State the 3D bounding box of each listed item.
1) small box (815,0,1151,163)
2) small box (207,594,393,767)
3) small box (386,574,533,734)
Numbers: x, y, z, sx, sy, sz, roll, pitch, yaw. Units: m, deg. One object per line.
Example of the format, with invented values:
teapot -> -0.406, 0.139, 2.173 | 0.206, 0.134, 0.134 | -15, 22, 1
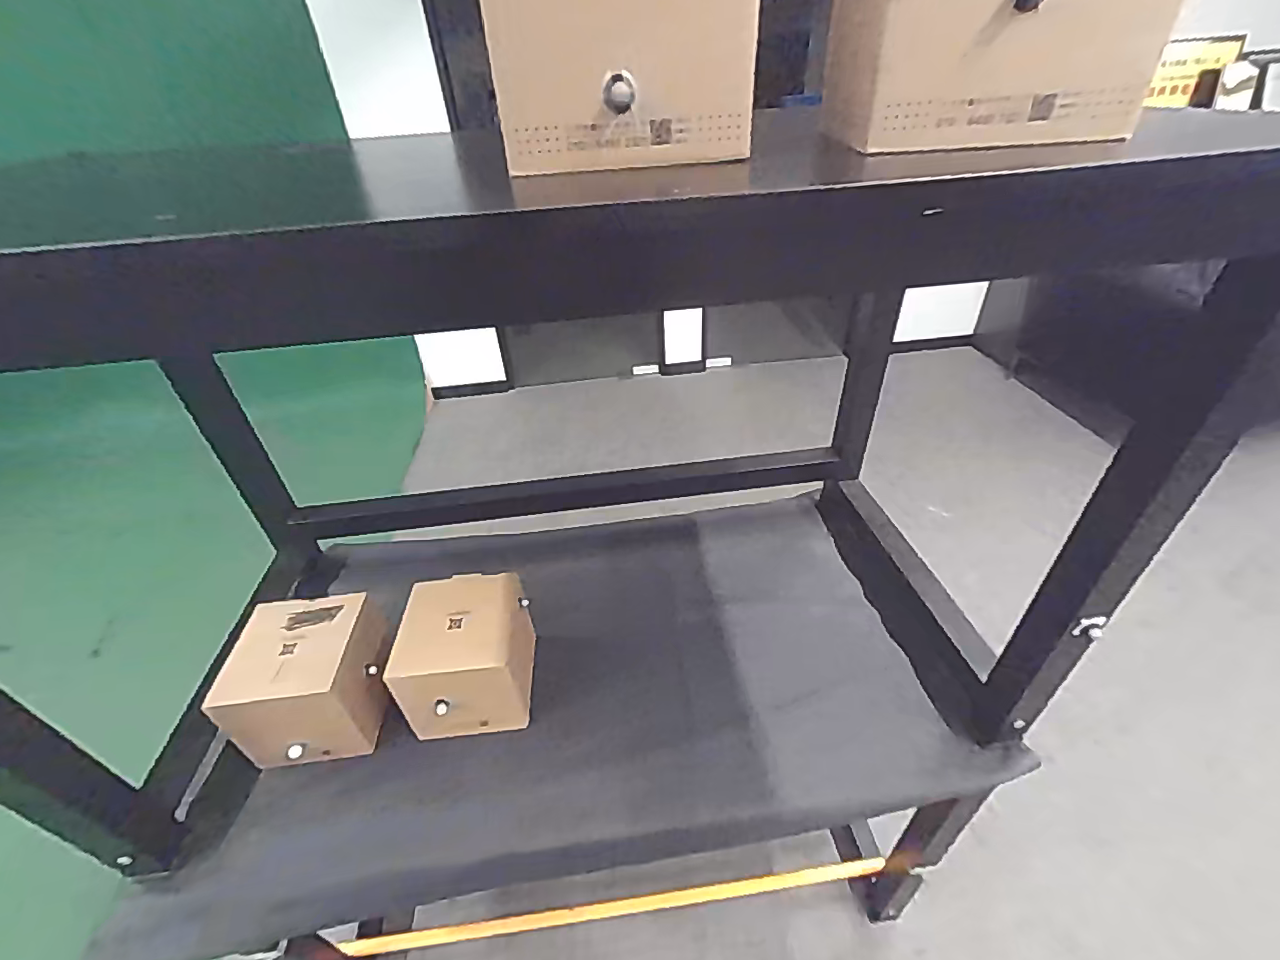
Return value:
small box -> 0.231, -0.332, 0.388 | 0.168, 0.176, 0.179 | 1, 36, 5
small box -> -0.491, 0.302, 0.821 | 0.168, 0.176, 0.179 | -6, 37, -4
small box -> -0.266, 0.274, 0.844 | 0.168, 0.176, 0.179 | -5, 36, -3
